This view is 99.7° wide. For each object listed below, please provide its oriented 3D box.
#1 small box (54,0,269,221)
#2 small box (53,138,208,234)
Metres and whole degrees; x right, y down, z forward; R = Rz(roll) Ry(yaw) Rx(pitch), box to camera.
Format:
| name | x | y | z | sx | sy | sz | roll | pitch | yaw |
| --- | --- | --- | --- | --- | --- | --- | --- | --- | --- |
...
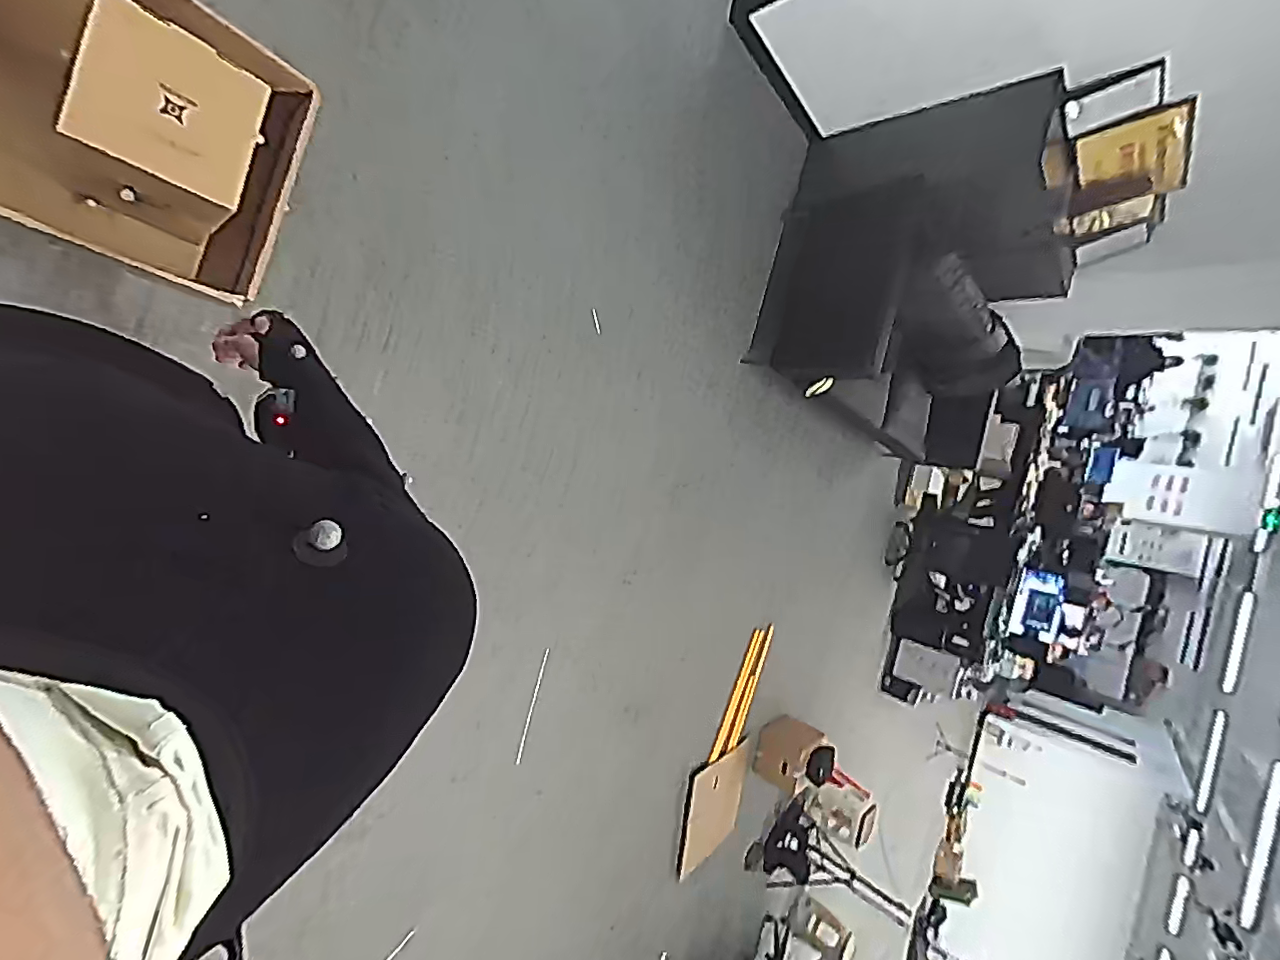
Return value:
| name | x | y | z | sx | sy | sz | roll | pitch | yaw |
| --- | --- | --- | --- | --- | --- | --- | --- | --- | --- |
| small box | -0.618 | -0.468 | 0.699 | 0.168 | 0.176 | 0.179 | 17 | 87 | -47 |
| small box | -0.733 | -0.497 | 0.810 | 0.168 | 0.176 | 0.179 | 18 | 86 | -47 |
